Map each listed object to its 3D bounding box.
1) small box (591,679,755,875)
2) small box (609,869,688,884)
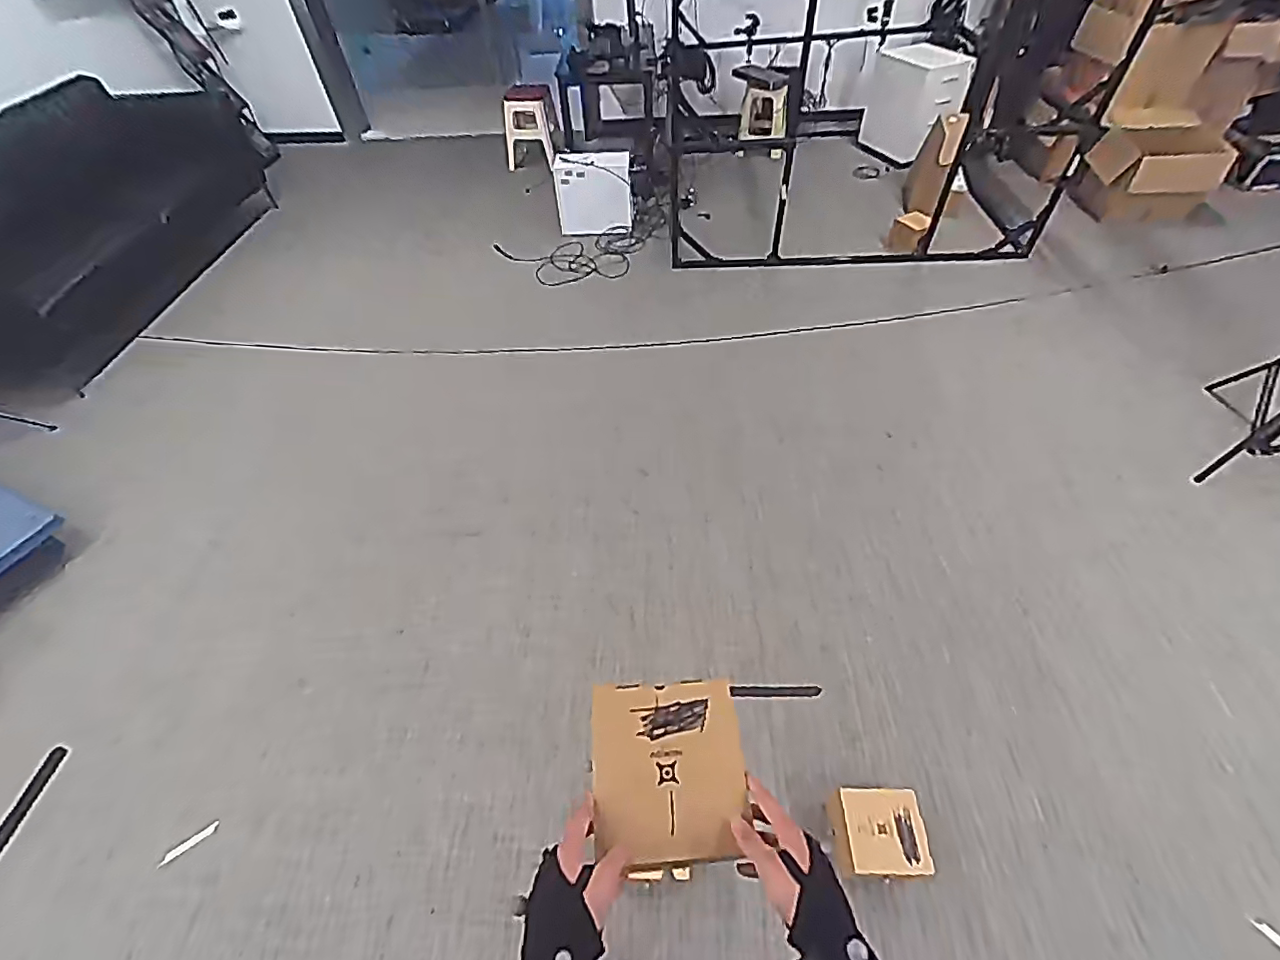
[{"bbox_3d":[0.029,0.359,0.650,0.168,0.176,0.179,-4,53,-2],"label":"small box"},{"bbox_3d":[0.023,0.862,1.298,0.179,0.176,0.168,-2,50,3],"label":"small box"}]
